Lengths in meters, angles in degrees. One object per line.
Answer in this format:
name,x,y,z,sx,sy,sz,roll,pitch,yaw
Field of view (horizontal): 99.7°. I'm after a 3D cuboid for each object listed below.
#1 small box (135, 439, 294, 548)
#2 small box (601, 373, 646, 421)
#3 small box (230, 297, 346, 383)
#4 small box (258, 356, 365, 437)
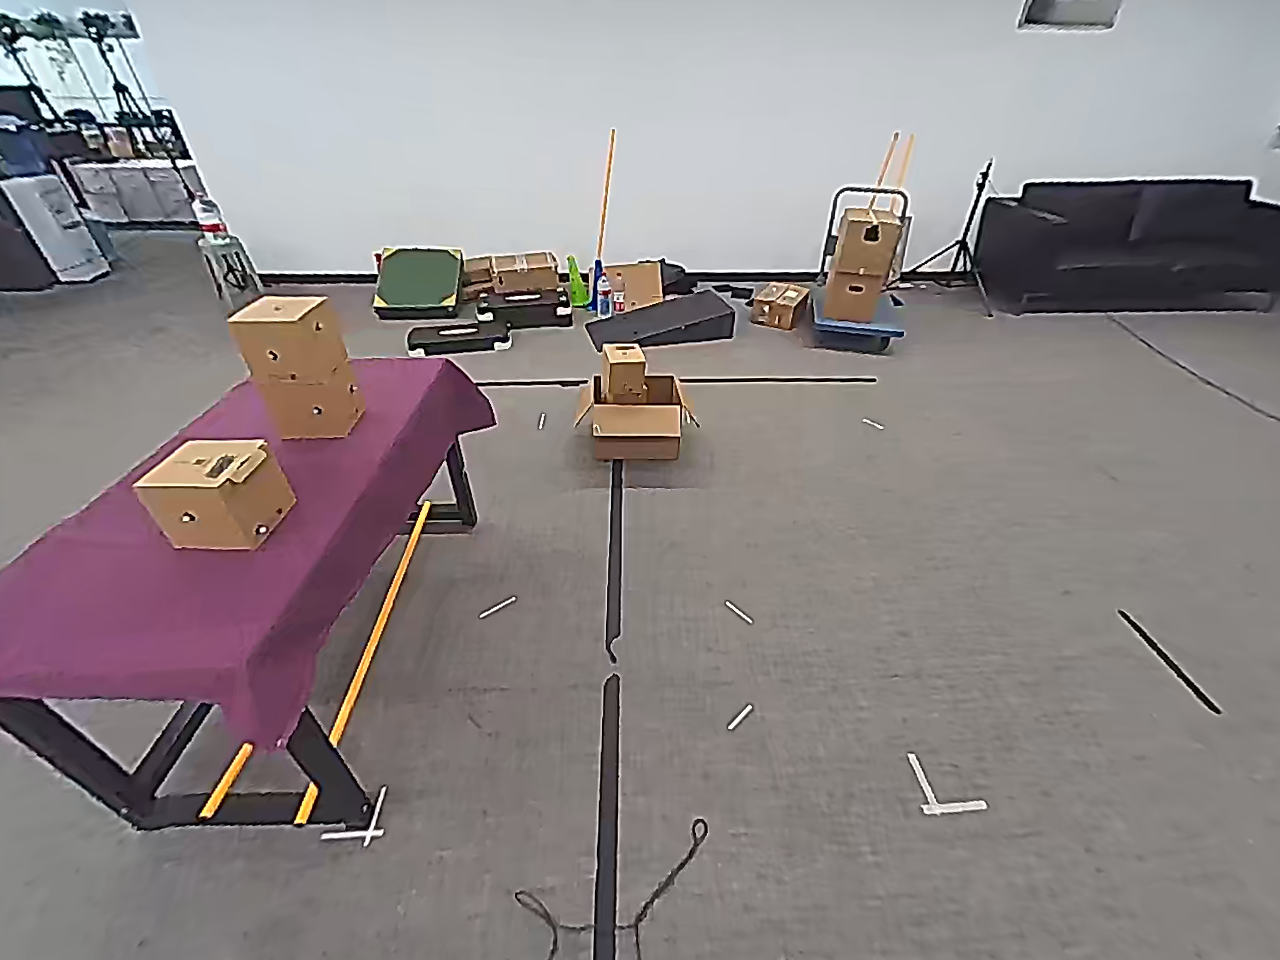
small box,-0.883,0.030,1.148,0.179,0.176,0.168,1,37,2
small box,-0.083,-0.398,2.612,0.179,0.176,0.168,-12,43,-20
small box,-0.887,-0.359,1.386,0.168,0.176,0.179,1,37,-1
small box,-0.887,-0.227,1.485,0.179,0.176,0.168,-1,37,-1
